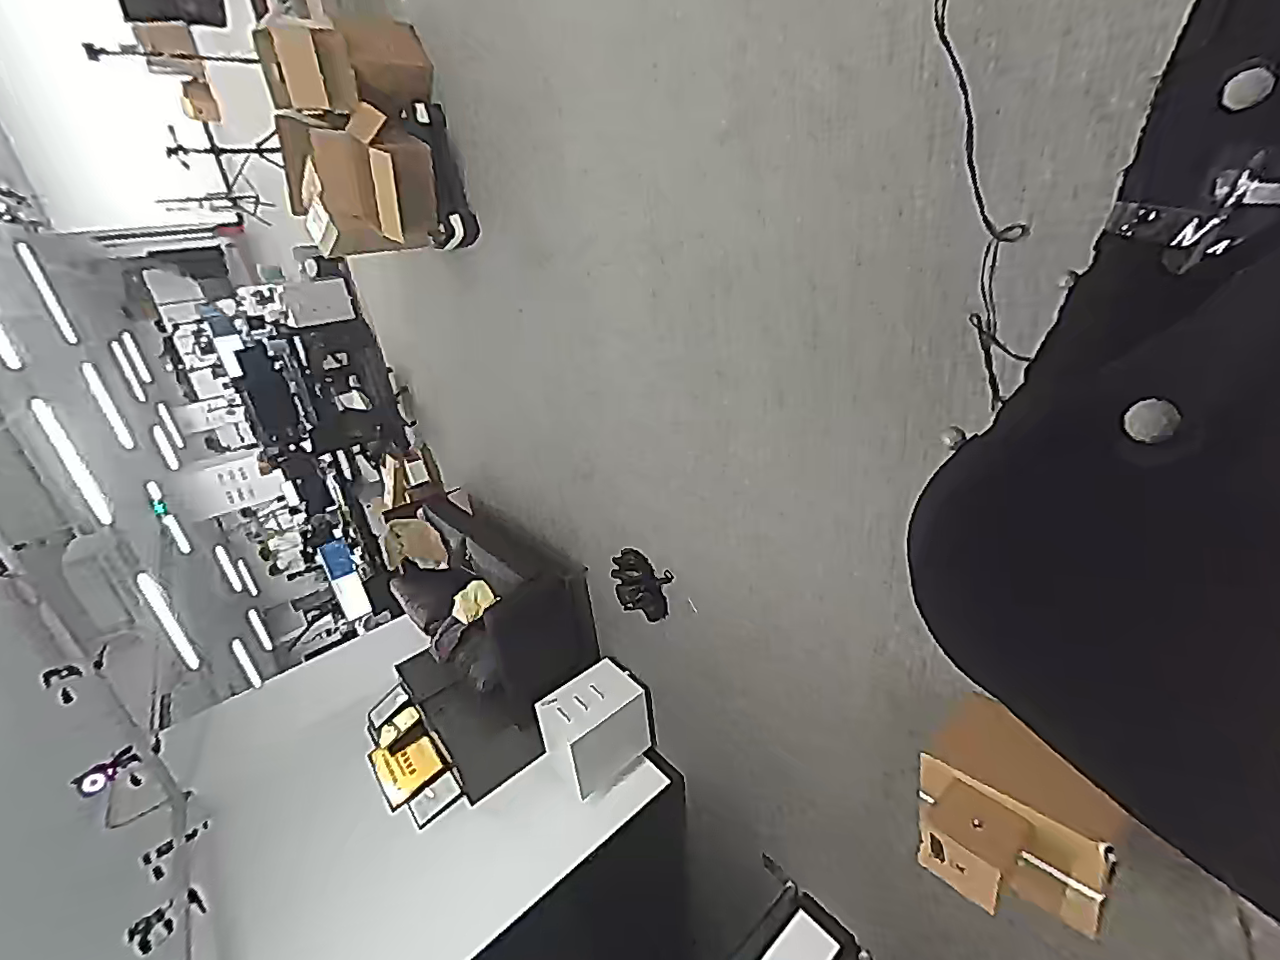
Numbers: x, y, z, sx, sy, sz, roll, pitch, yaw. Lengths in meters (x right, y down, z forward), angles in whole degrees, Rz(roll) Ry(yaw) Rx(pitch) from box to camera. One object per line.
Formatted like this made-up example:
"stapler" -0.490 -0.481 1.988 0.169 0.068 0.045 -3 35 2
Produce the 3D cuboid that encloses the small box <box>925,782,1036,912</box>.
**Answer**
"small box" 0.834 0.886 1.330 0.179 0.176 0.168 18 124 48
